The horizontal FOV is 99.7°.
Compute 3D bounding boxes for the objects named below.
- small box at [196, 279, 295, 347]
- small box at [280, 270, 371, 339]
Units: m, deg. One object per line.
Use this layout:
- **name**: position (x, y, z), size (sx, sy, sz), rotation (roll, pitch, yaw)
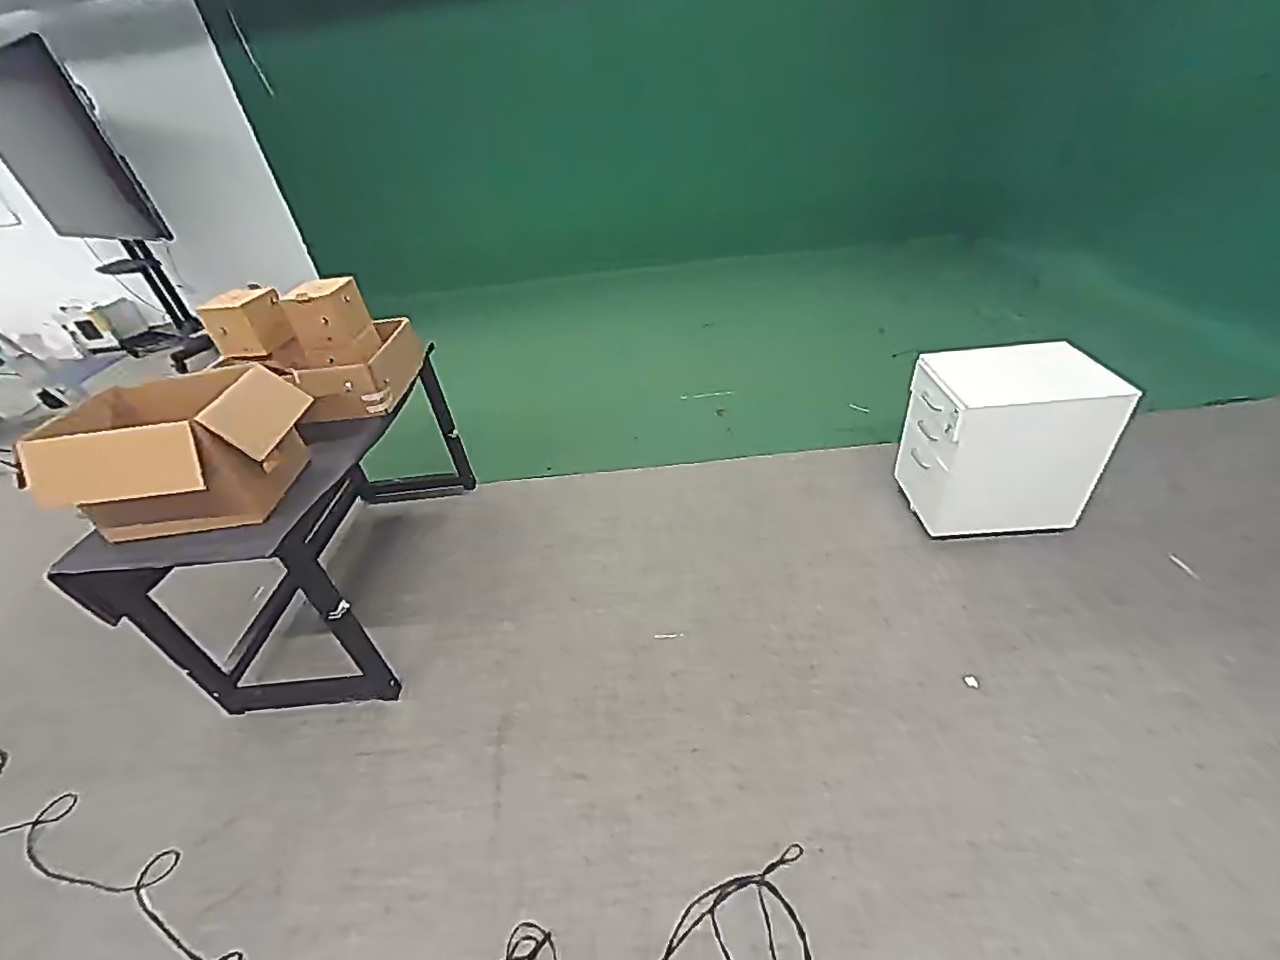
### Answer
- **small box**: position (-1.285, -0.545, 1.779), size (0.168, 0.176, 0.179), rotation (0, 38, 8)
- **small box**: position (-1.016, -0.569, 1.768), size (0.168, 0.176, 0.179), rotation (-2, 38, 5)
